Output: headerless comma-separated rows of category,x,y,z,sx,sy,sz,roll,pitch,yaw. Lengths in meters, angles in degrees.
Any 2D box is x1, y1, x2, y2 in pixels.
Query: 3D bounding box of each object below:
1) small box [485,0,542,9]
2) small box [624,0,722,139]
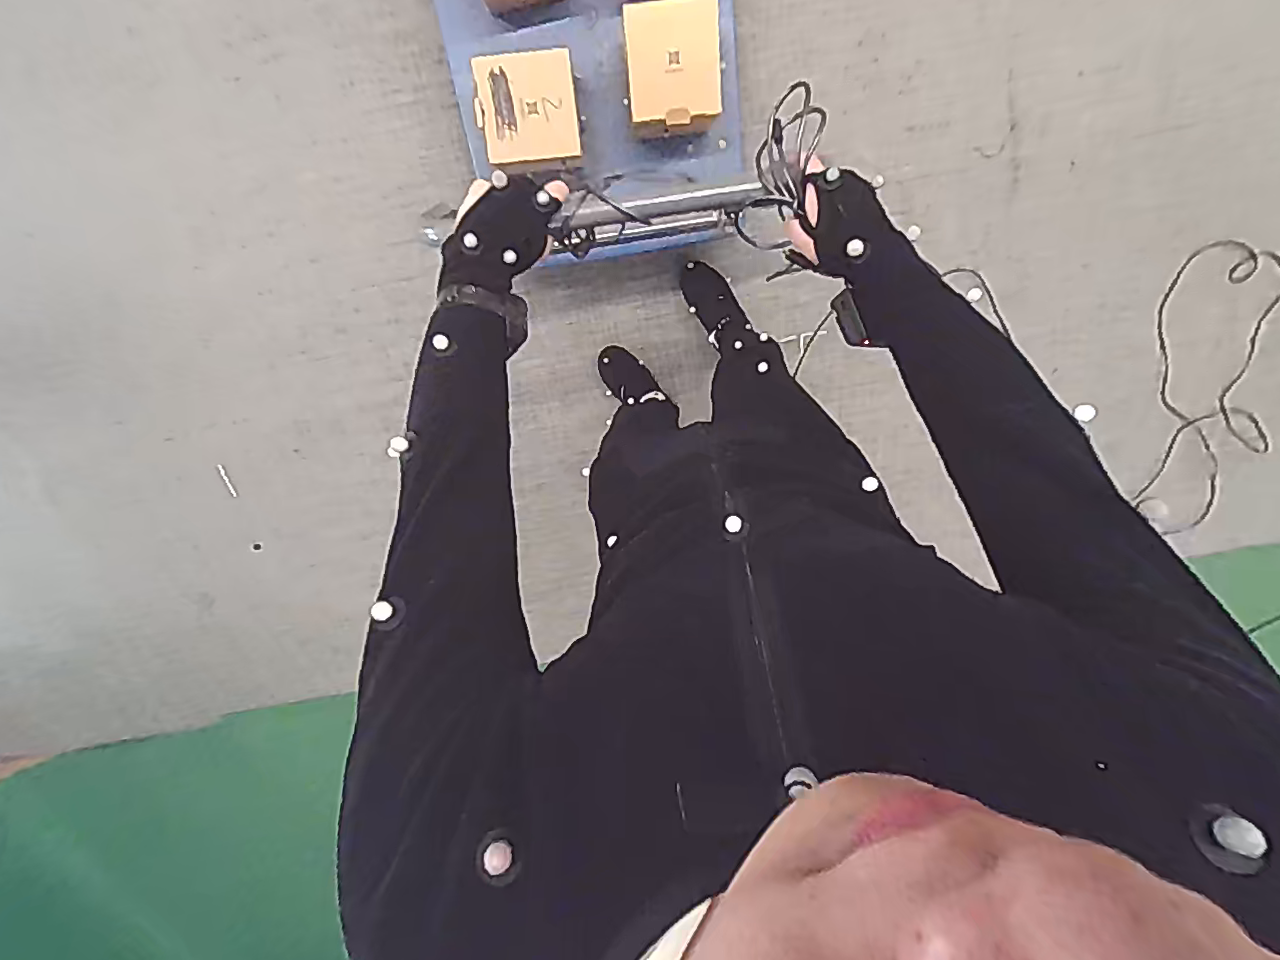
small box,-0.223,-0.959,0.937,0.168,0.176,0.179,-11,114,3
small box,0.058,-0.774,1.031,0.168,0.176,0.179,-6,115,1
